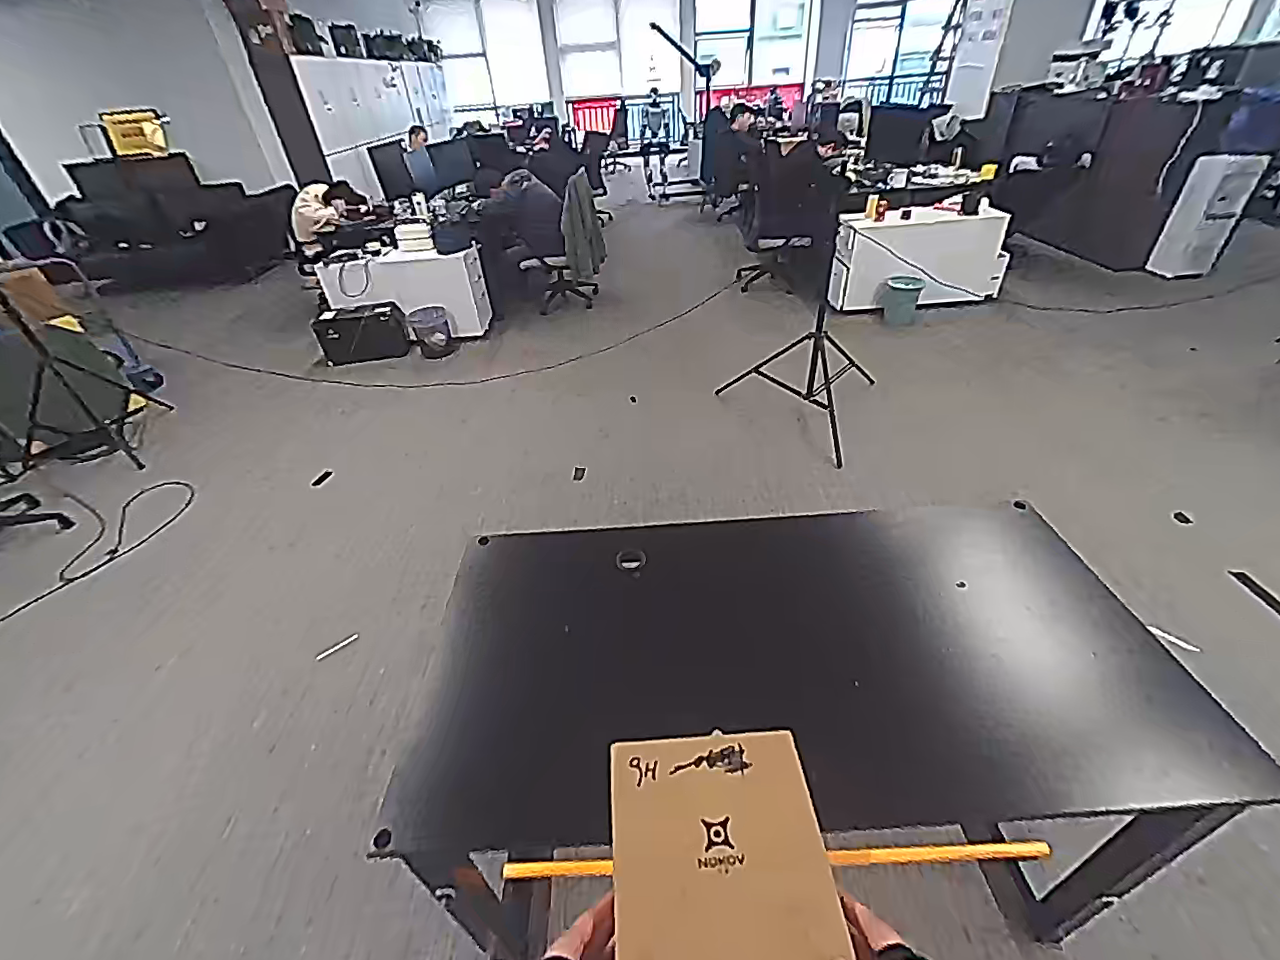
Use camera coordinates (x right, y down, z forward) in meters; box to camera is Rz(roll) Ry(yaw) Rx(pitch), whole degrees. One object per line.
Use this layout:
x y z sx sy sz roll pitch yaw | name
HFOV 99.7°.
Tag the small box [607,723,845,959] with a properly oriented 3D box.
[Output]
0.059 0.344 0.479 0.168 0.176 0.179 -3 39 -2 | small box
